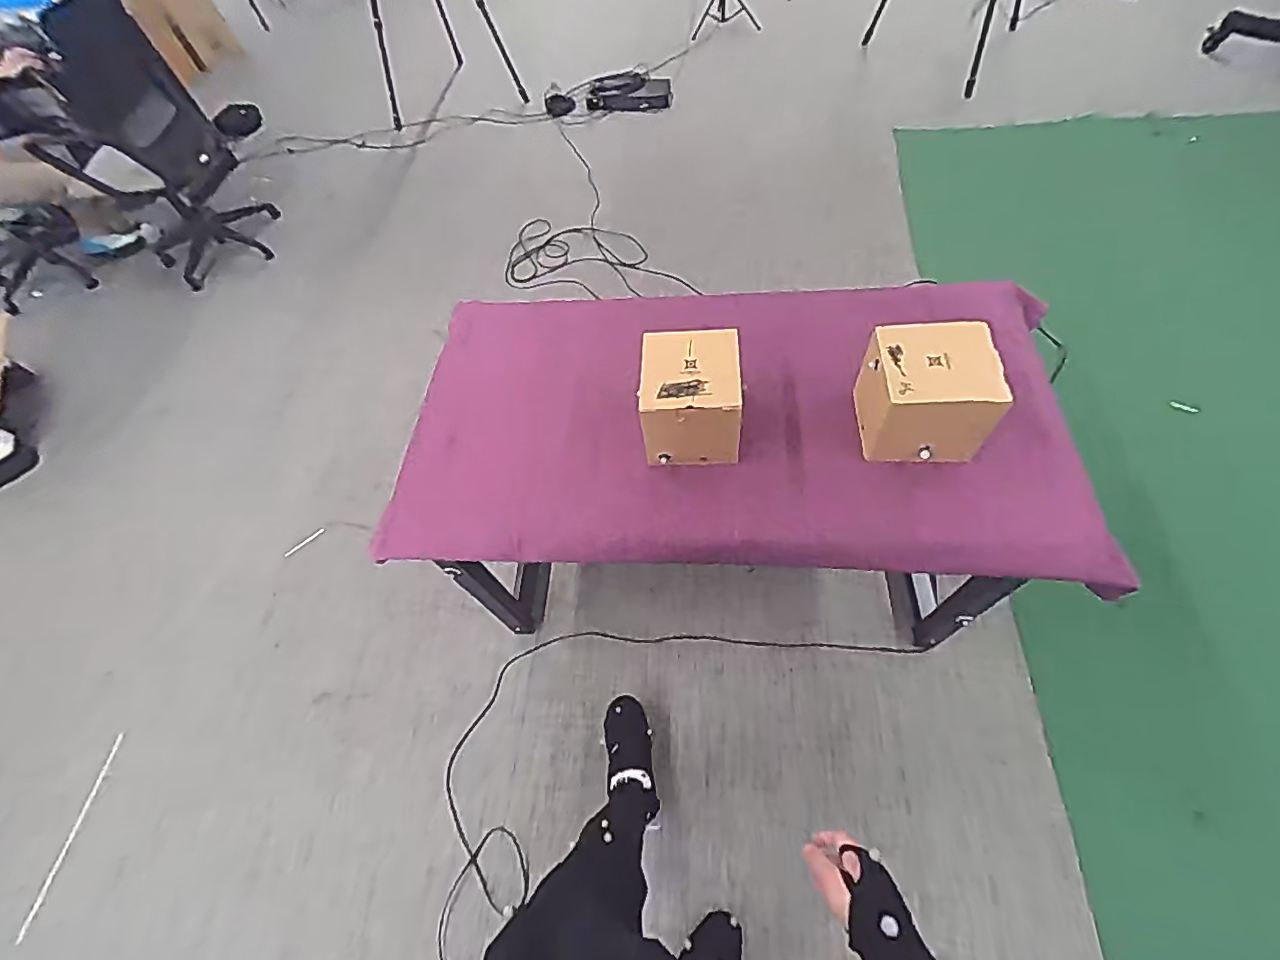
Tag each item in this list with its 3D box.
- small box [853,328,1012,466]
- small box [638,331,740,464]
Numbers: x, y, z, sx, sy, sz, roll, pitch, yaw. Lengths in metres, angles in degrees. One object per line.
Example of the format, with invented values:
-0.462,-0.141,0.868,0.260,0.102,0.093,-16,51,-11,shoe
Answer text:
0.479,-0.136,0.916,0.179,0.176,0.168,1,59,7,small box
0.091,-0.139,0.961,0.168,0.176,0.179,0,58,6,small box
